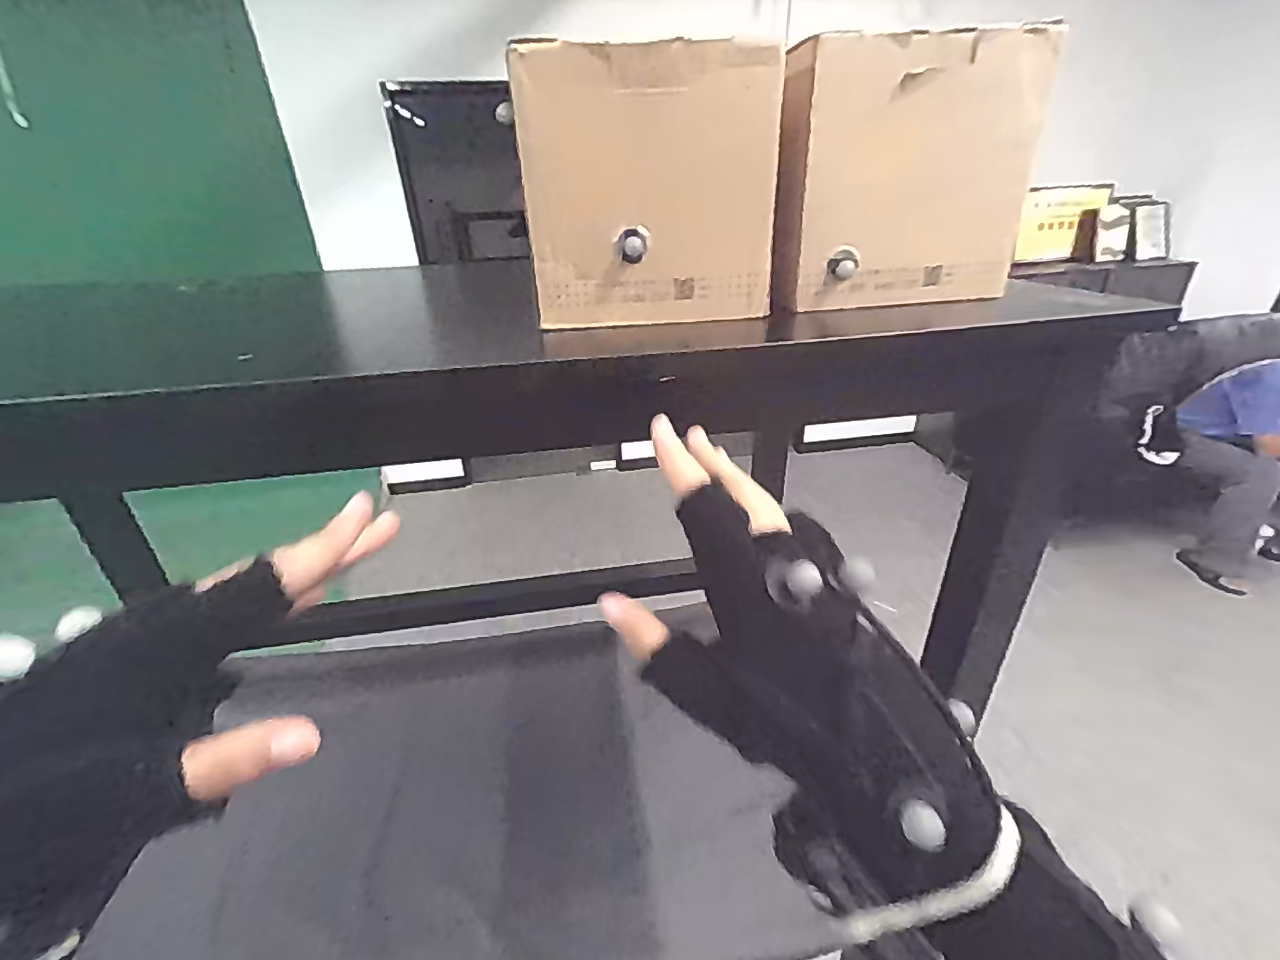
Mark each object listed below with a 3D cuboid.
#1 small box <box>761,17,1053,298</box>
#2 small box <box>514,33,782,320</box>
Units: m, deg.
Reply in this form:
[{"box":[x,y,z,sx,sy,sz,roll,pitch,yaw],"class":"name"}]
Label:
[{"box":[0.182,-0.248,0.450,0.168,0.176,0.179,-5,26,-4],"class":"small box"},{"box":[0.001,-0.229,0.433,0.168,0.176,0.179,-4,28,-4],"class":"small box"}]
